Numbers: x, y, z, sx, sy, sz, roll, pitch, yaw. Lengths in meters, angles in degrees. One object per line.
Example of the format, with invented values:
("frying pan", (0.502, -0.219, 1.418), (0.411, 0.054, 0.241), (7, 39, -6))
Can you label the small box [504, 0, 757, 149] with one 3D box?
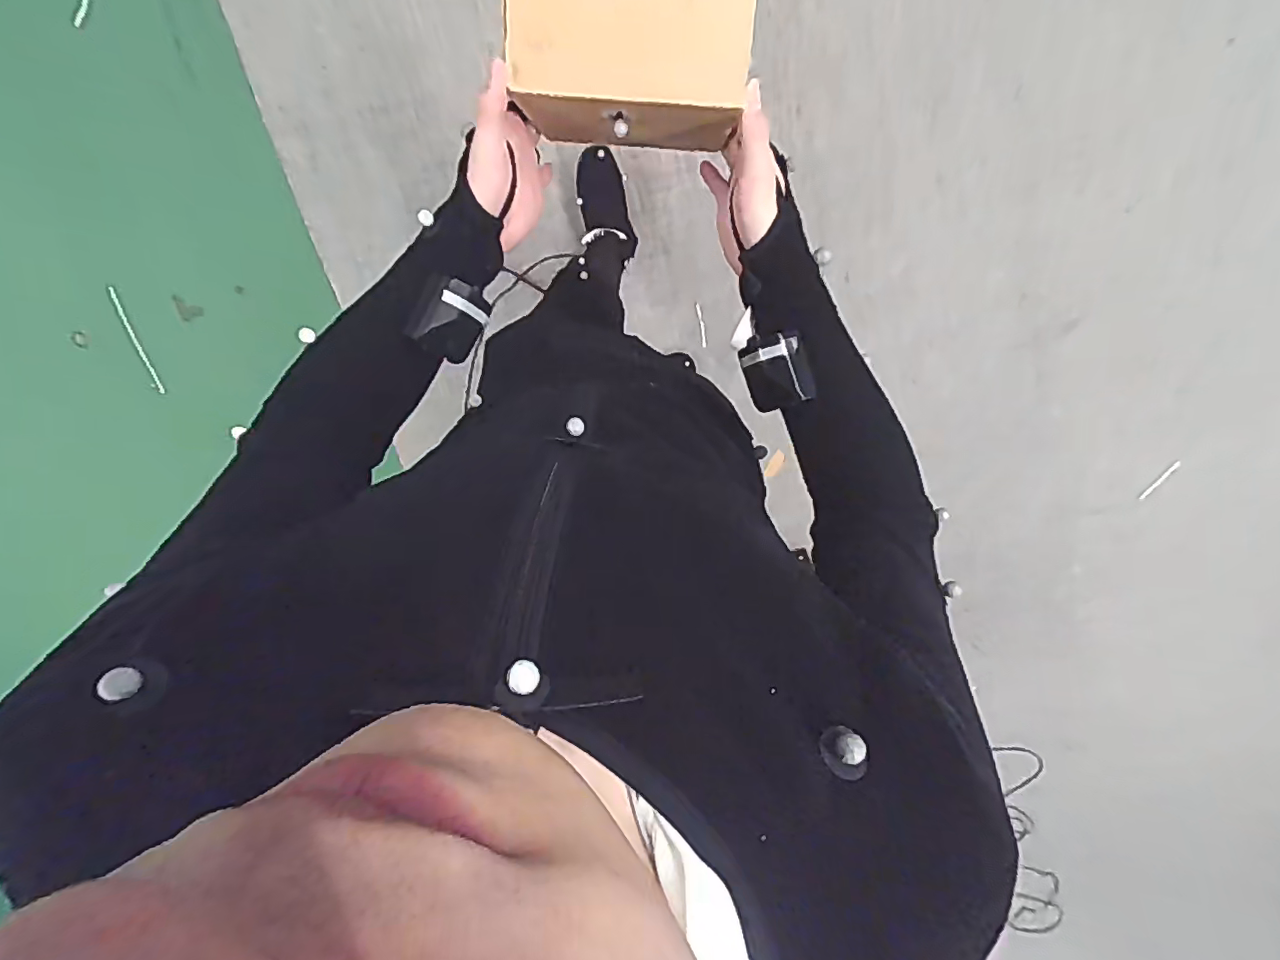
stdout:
("small box", (-0.002, -0.380, 0.434), (0.179, 0.176, 0.168), (5, 112, 0))
